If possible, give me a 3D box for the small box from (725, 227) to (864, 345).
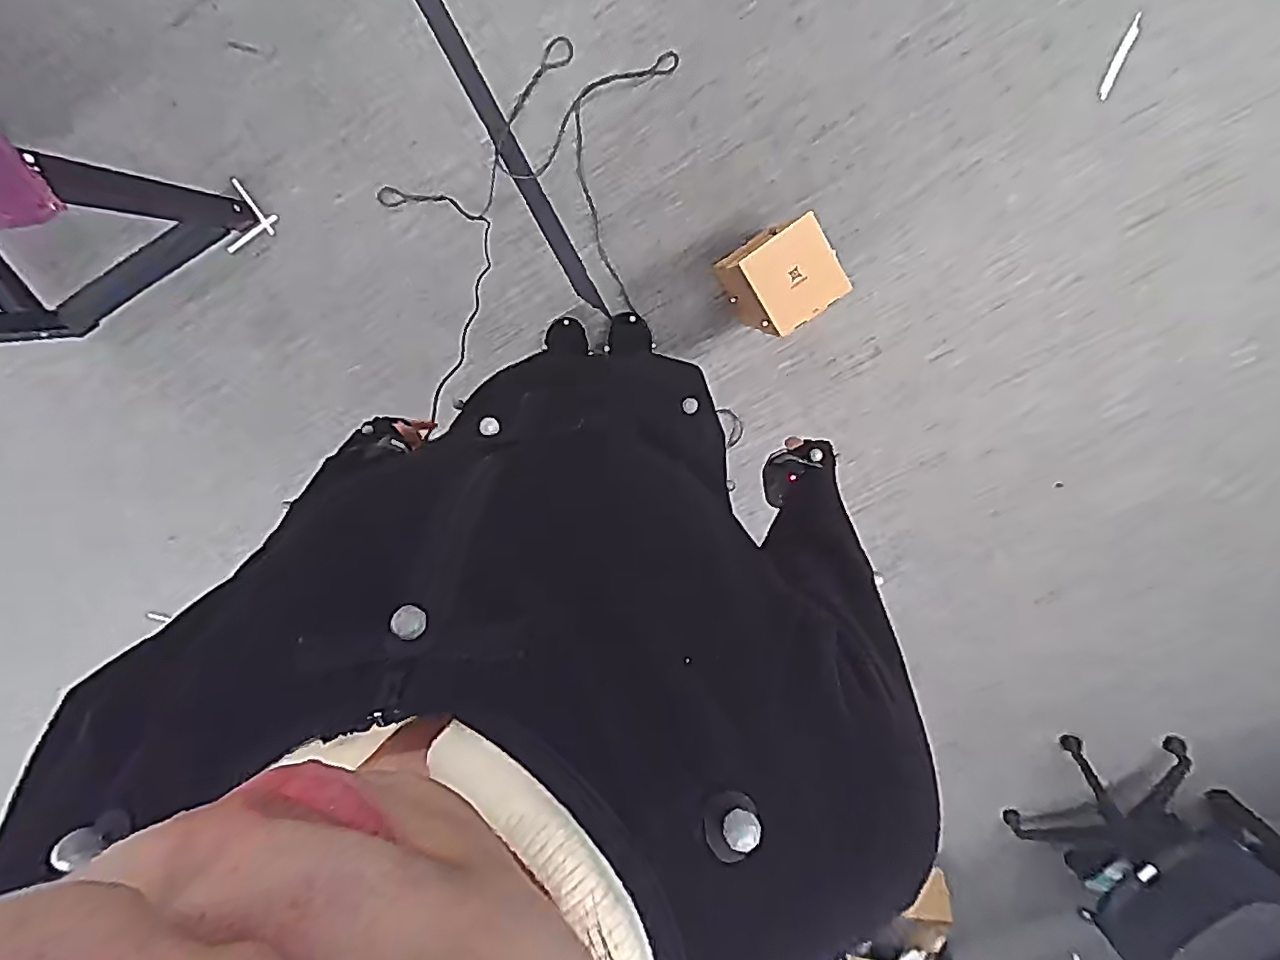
[{"bbox_3d":[0.313,-0.393,1.098,0.179,0.176,0.168,-44,124,-5],"label":"small box"}]
